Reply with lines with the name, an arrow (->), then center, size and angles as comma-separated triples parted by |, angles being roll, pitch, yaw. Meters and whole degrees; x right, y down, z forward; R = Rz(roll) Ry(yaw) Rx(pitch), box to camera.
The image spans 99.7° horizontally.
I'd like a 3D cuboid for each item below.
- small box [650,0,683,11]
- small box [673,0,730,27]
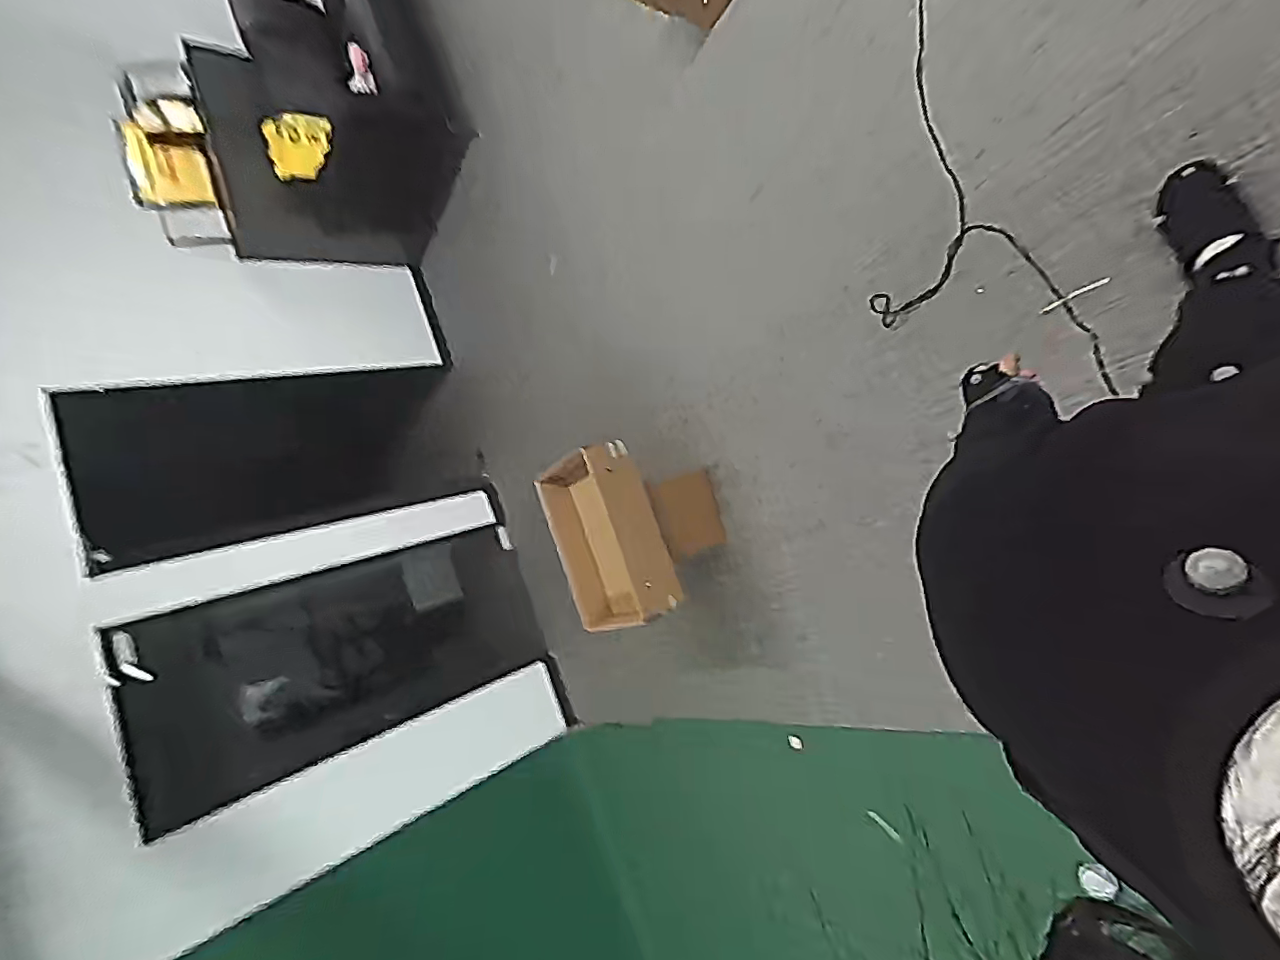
small box -> 0.057, -1.503, 1.543 | 0.168, 0.176, 0.179 | -29, 78, 52
small box -> 0.186, -1.539, 1.638 | 0.179, 0.176, 0.168 | -31, 77, 52
